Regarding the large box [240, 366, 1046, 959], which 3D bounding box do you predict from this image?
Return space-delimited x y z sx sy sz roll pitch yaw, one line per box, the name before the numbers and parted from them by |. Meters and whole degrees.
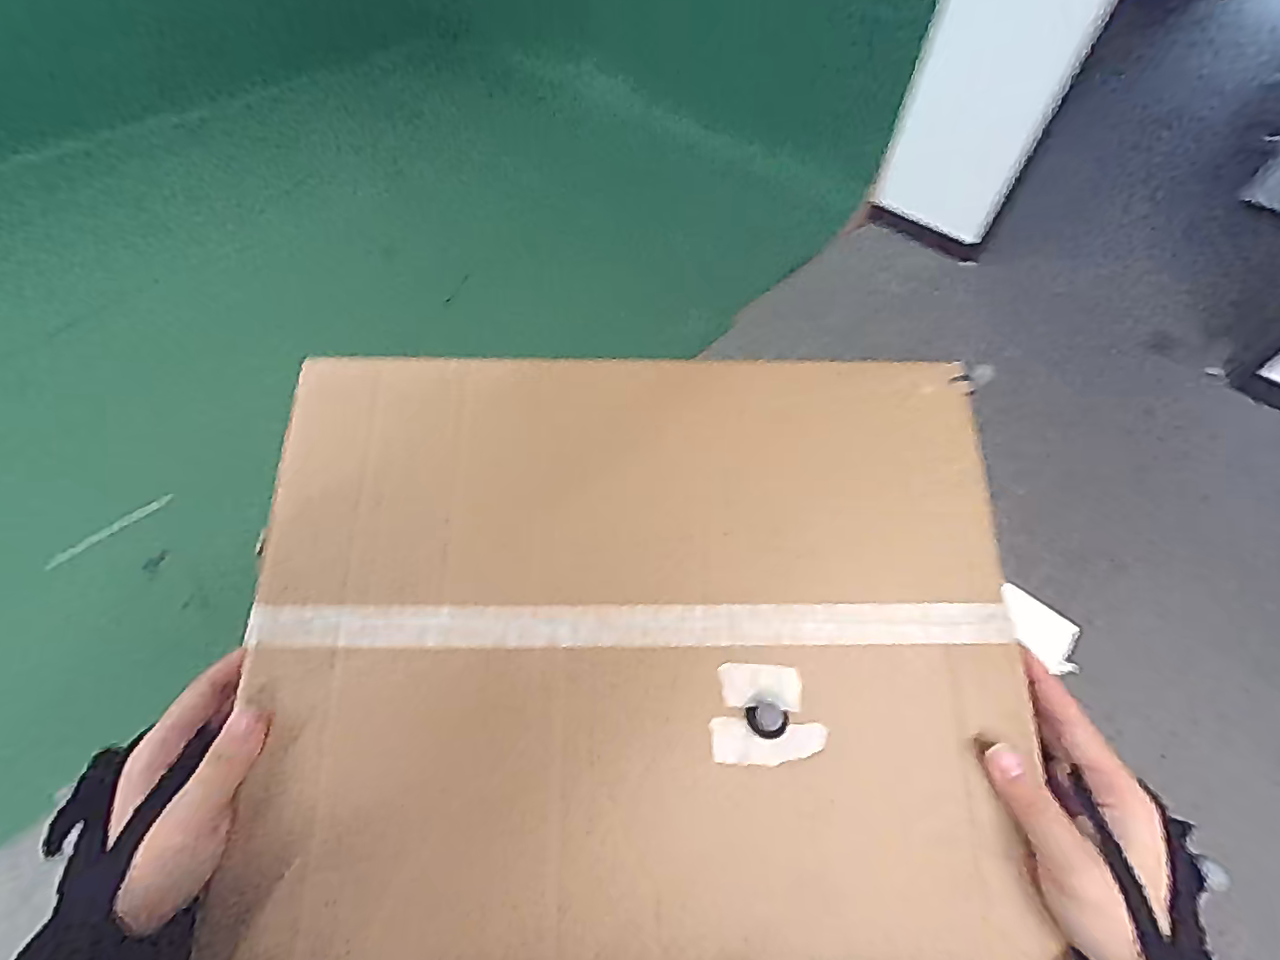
large box | -0.003 0.118 0.447 0.408 0.320 0.320 0 74 -2
